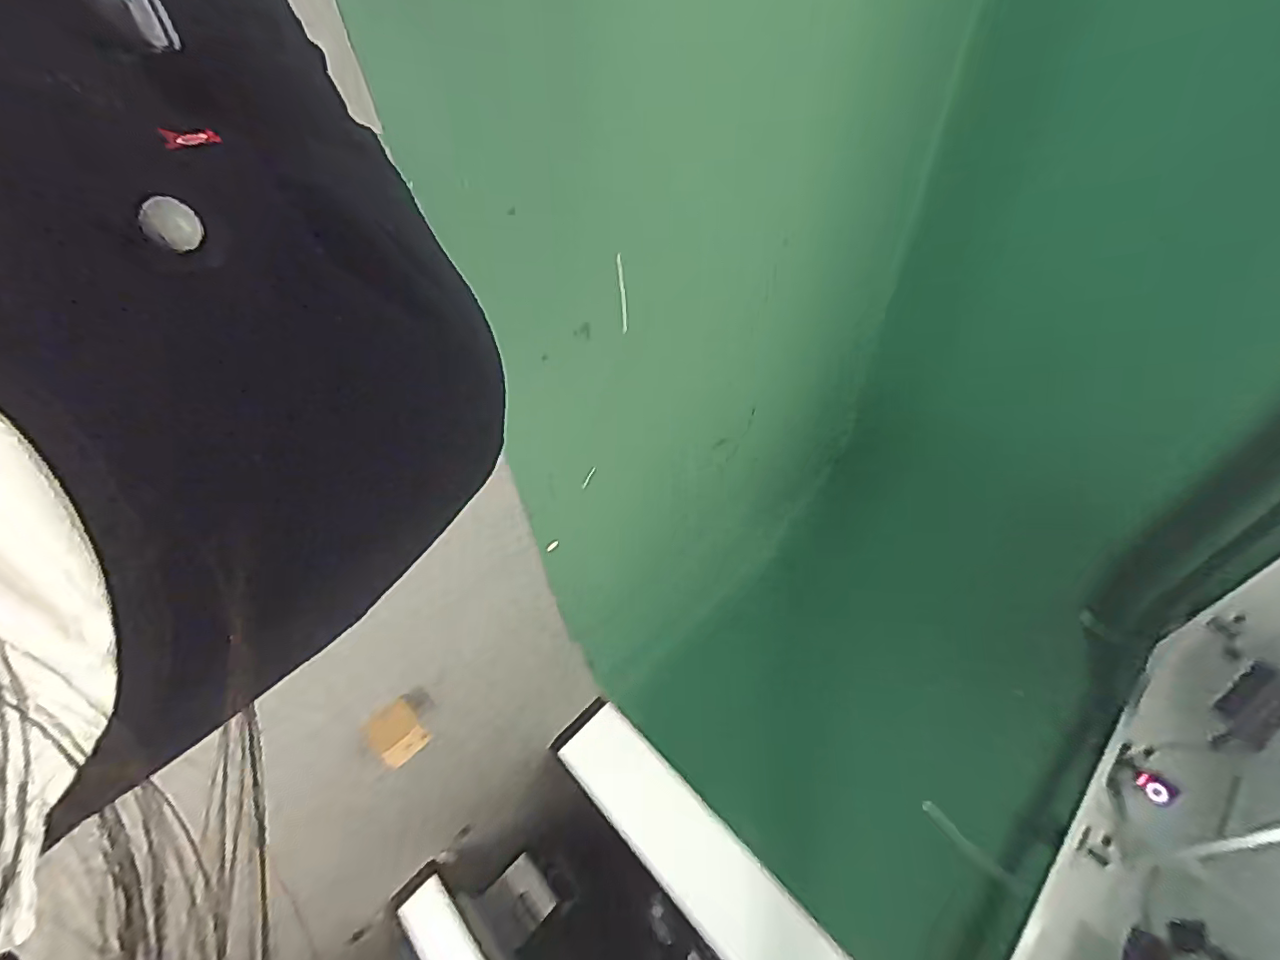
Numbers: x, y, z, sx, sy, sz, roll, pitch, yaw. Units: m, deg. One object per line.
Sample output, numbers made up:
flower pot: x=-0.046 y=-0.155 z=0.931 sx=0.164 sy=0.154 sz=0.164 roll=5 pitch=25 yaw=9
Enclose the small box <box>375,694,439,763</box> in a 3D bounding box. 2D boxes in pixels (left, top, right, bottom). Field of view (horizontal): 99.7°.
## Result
small box: x=-0.999 y=1.056 z=2.302 sx=0.179 sy=0.176 sz=0.168 roll=-37 pitch=145 yaw=-27
